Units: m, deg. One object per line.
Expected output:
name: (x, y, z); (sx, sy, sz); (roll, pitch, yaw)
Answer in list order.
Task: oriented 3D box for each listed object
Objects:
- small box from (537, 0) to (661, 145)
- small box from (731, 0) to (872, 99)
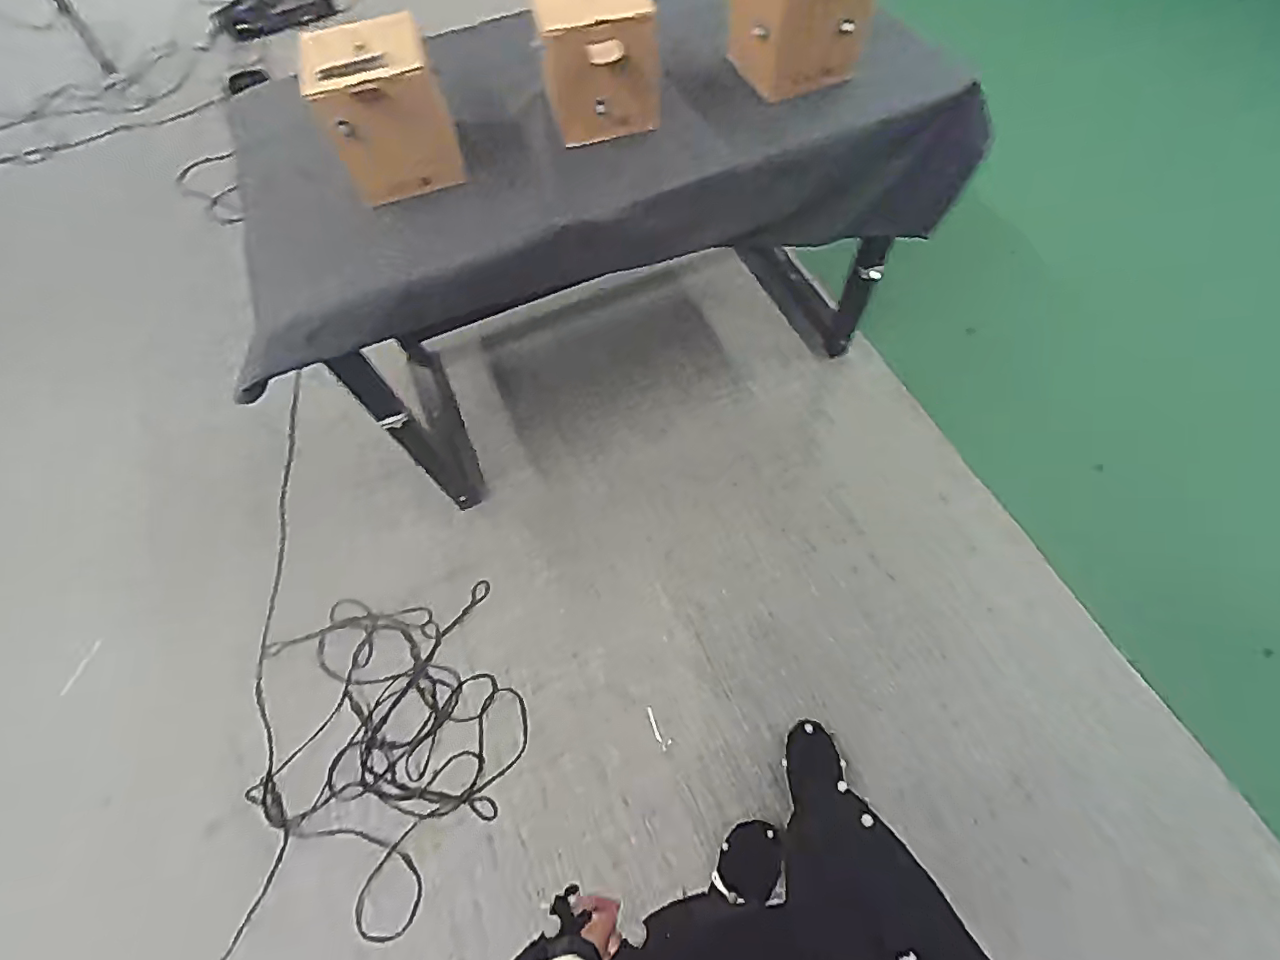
small box: (-0.066, -0.681, 0.871); (0.168, 0.176, 0.179); (-13, 64, -4)
small box: (0.264, -0.765, 0.893); (0.168, 0.176, 0.179); (-20, 63, -8)
